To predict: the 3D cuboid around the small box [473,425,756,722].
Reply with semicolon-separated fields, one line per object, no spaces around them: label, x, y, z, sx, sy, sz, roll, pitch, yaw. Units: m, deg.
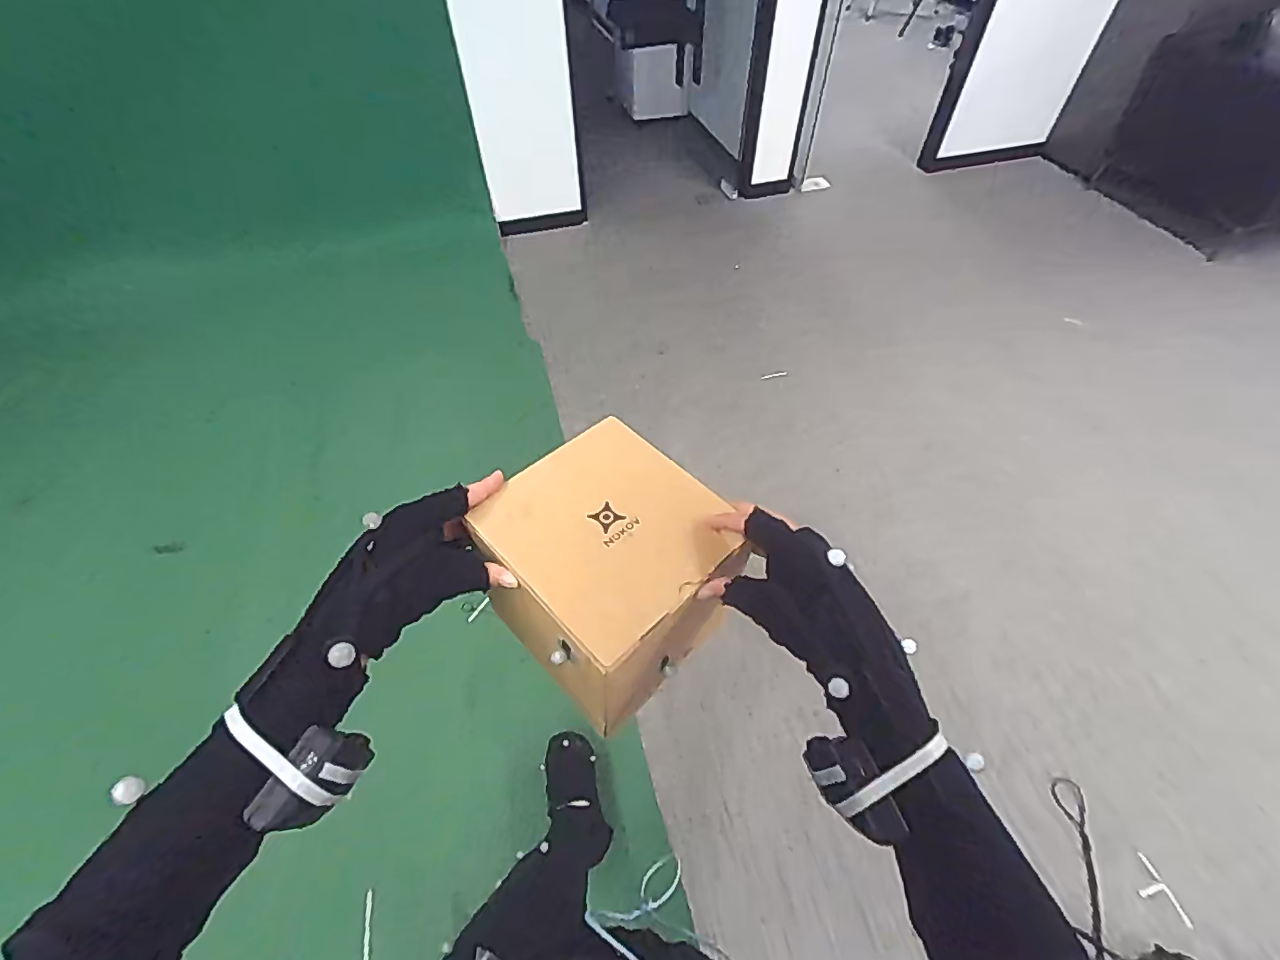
small box;-0.026;0.087;0.500;0.168;0.176;0.179;-36;62;-28
